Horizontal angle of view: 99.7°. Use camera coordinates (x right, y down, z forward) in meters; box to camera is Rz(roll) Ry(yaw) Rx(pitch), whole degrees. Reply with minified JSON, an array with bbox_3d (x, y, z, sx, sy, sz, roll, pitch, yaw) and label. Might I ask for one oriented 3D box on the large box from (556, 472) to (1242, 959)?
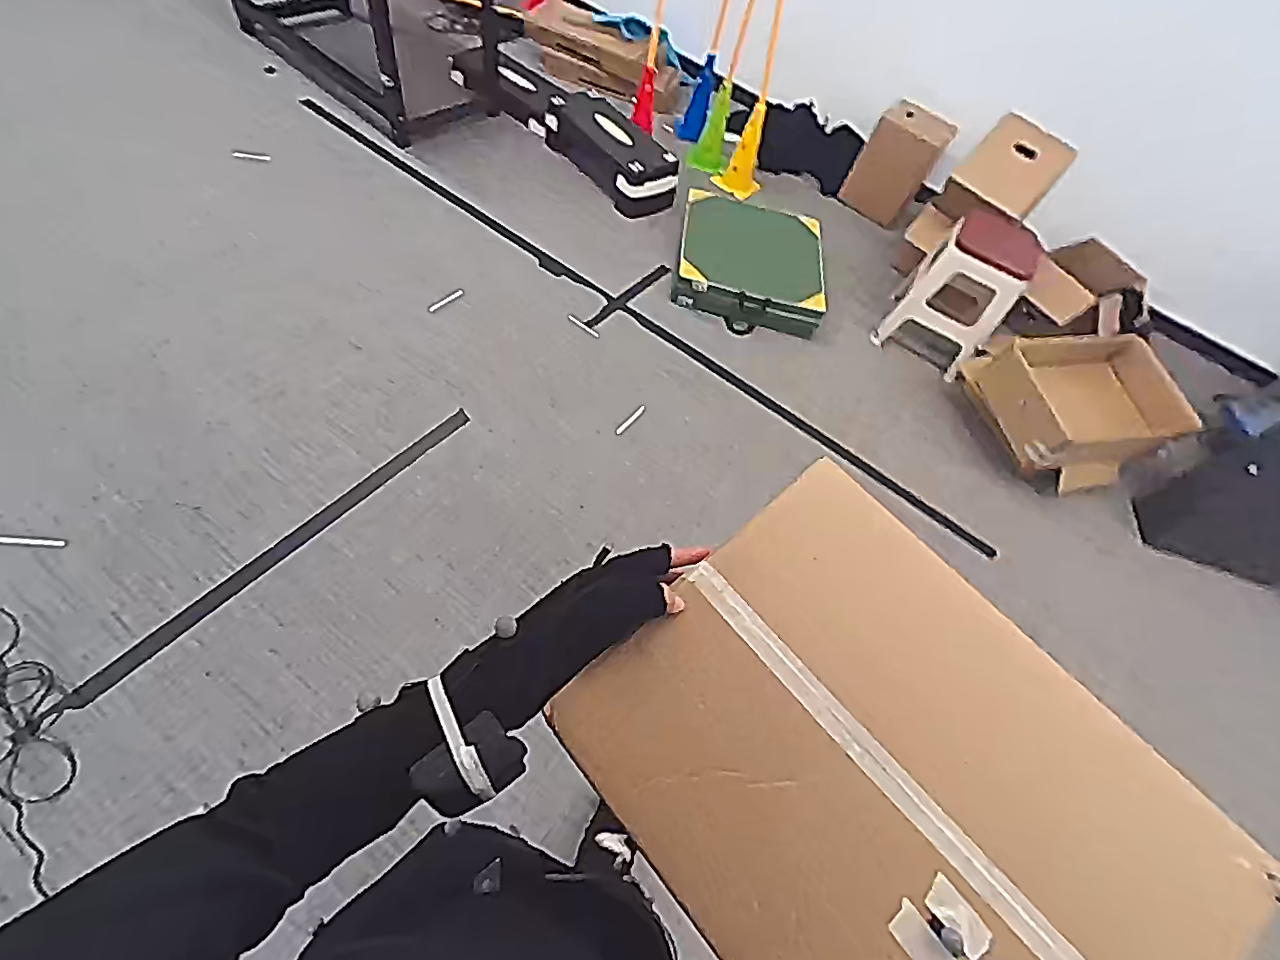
[{"bbox_3d":[0.172,0.273,0.523,0.320,0.320,0.408,-38,73,-16],"label":"large box"}]
